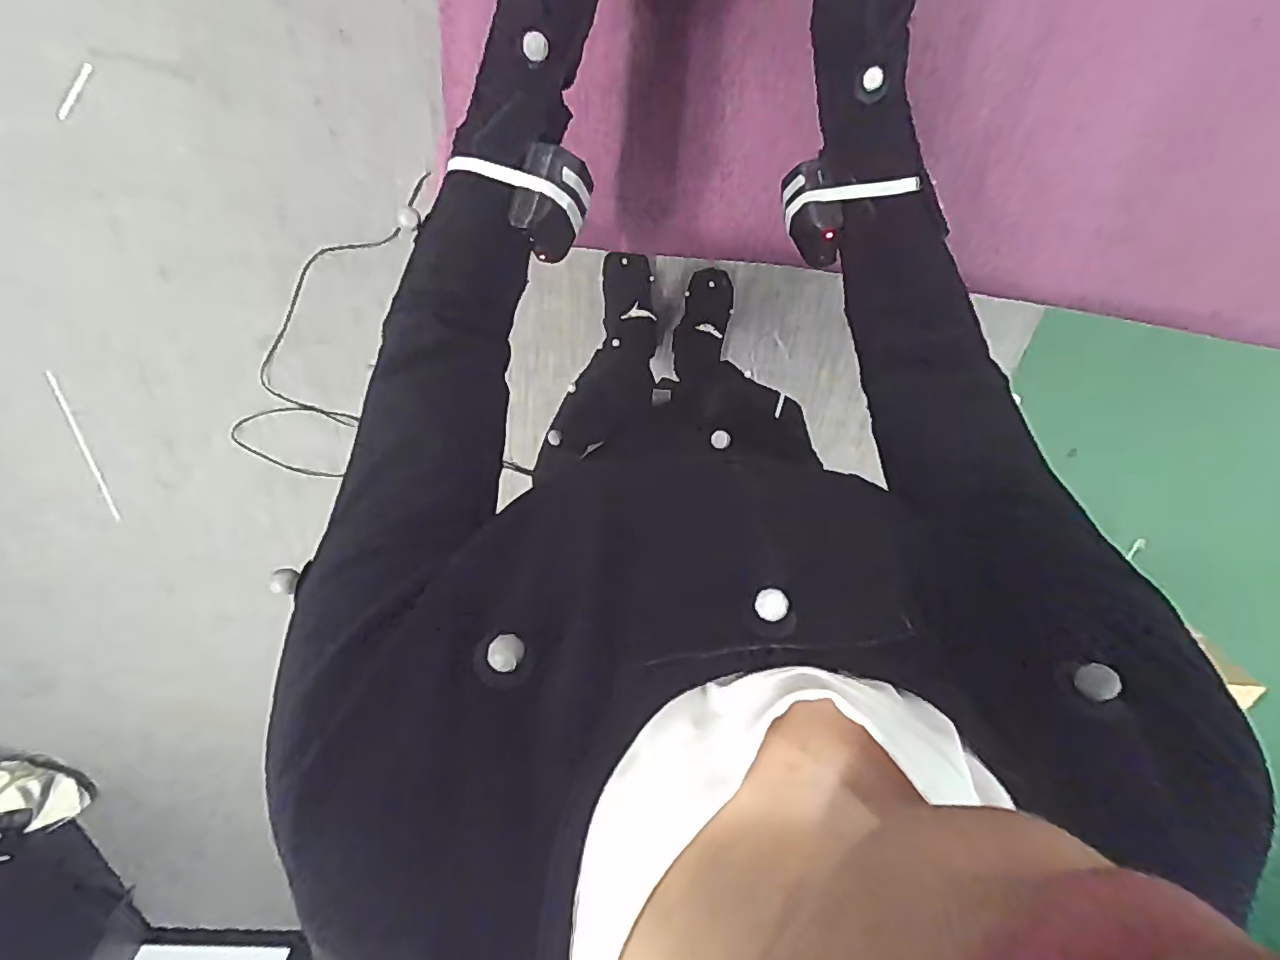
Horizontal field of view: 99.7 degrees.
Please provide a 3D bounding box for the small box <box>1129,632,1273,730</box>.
[{"bbox_3d":[1.464,0.529,1.432,0.168,0.176,0.179,4,120,-3],"label":"small box"}]

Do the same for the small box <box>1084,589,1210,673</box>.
[{"bbox_3d":[1.456,0.439,1.569,0.168,0.176,0.179,6,121,-3],"label":"small box"}]
